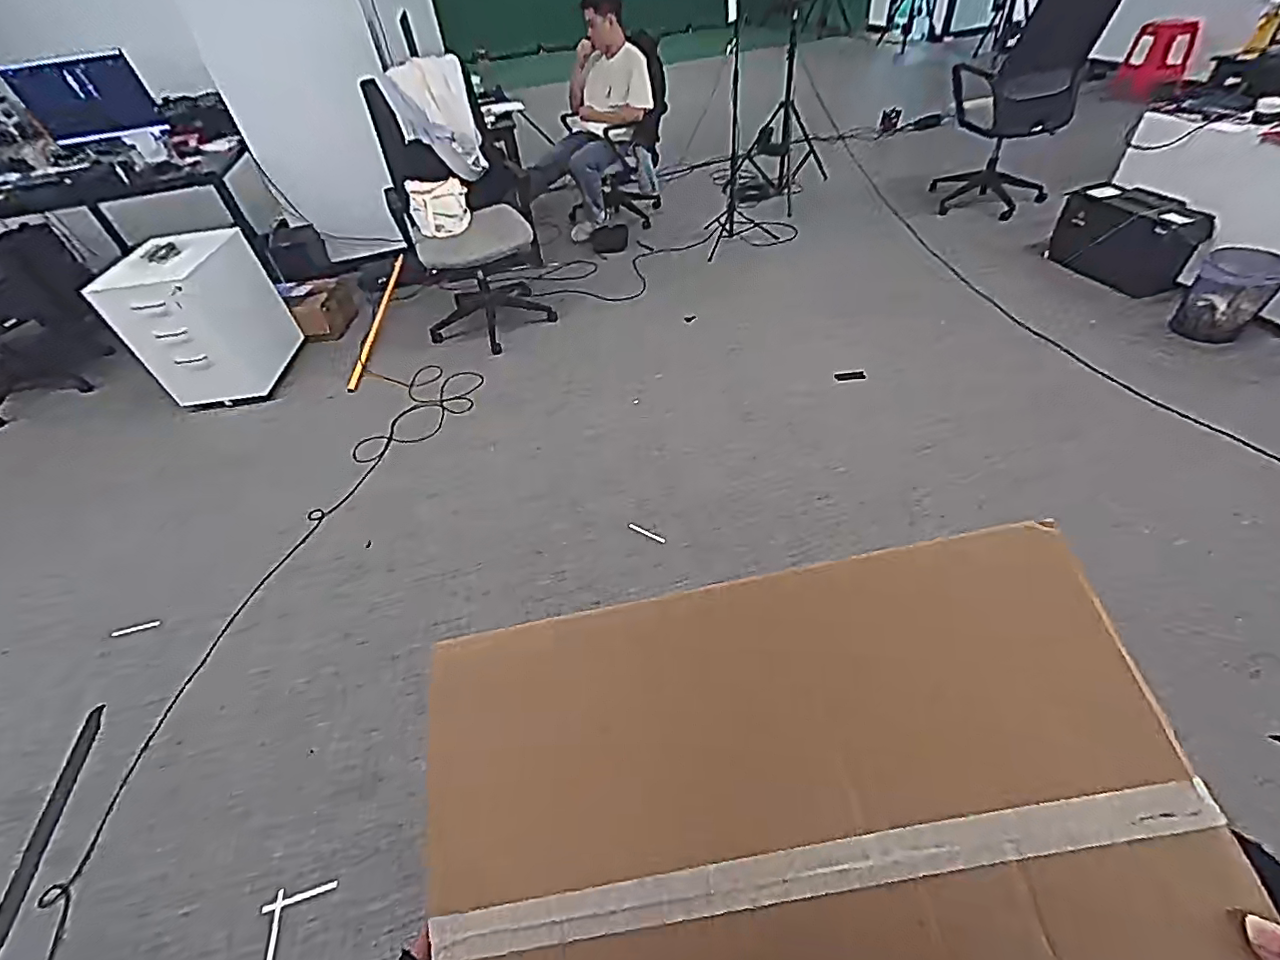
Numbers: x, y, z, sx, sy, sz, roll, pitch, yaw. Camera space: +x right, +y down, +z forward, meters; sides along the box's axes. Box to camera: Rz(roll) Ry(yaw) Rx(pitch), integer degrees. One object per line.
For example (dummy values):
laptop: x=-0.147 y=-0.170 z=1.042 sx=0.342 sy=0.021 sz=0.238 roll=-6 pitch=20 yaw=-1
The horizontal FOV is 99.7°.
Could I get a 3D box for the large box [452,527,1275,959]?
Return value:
large box: x=0.110 y=0.270 z=0.424 sx=0.408 sy=0.320 sz=0.320 roll=-12 pitch=64 yaw=3
